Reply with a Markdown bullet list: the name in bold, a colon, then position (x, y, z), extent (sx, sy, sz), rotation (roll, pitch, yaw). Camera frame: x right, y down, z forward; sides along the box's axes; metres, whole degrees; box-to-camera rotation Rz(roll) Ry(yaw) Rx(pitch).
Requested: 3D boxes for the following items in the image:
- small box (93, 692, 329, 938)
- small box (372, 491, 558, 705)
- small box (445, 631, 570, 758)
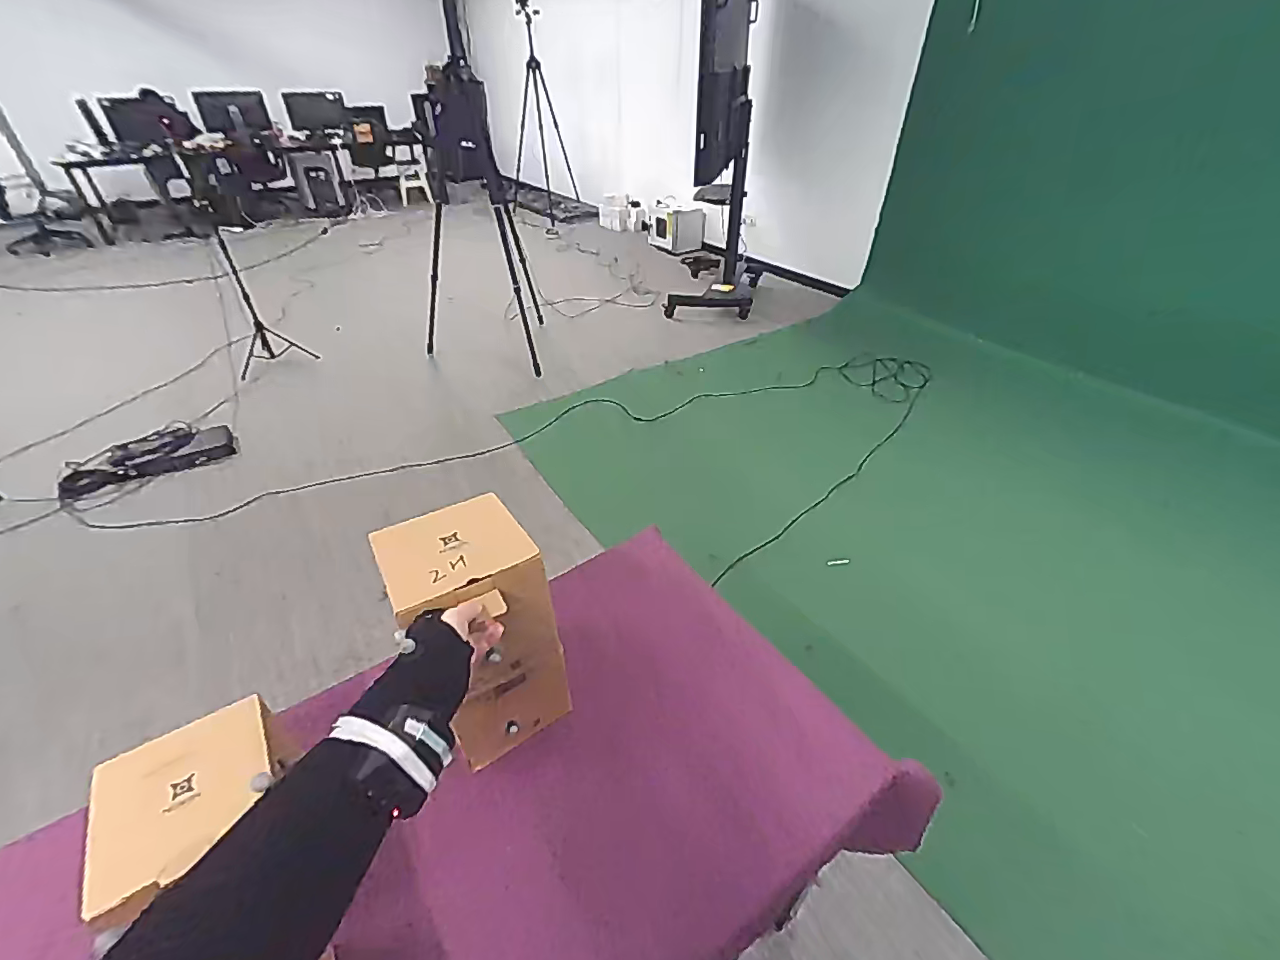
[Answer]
- **small box**: position (-0.502, 0.404, 0.653), extent (0.168, 0.176, 0.179), rotation (-22, 43, -27)
- **small box**: position (-0.220, 0.143, 0.690), extent (0.168, 0.176, 0.179), rotation (-22, 35, -25)
- **small box**: position (-0.221, 0.273, 0.817), extent (0.168, 0.176, 0.179), rotation (-25, 46, -28)
